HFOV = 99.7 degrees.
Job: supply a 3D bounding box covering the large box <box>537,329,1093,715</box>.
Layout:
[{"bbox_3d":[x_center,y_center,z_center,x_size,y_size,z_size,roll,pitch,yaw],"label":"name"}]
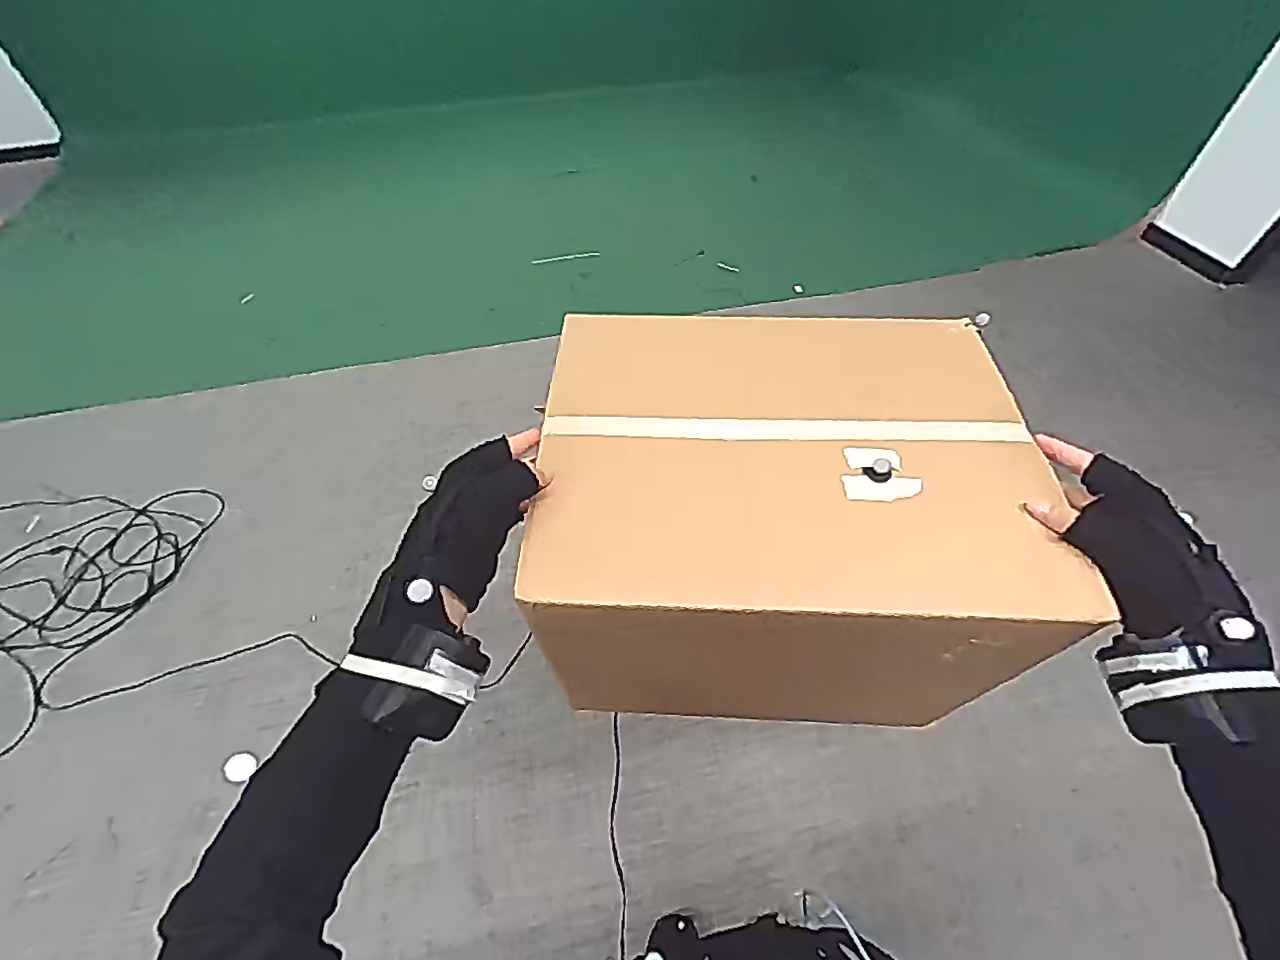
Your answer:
[{"bbox_3d":[0.124,0.056,0.588,0.408,0.320,0.320,1,54,1],"label":"large box"}]
